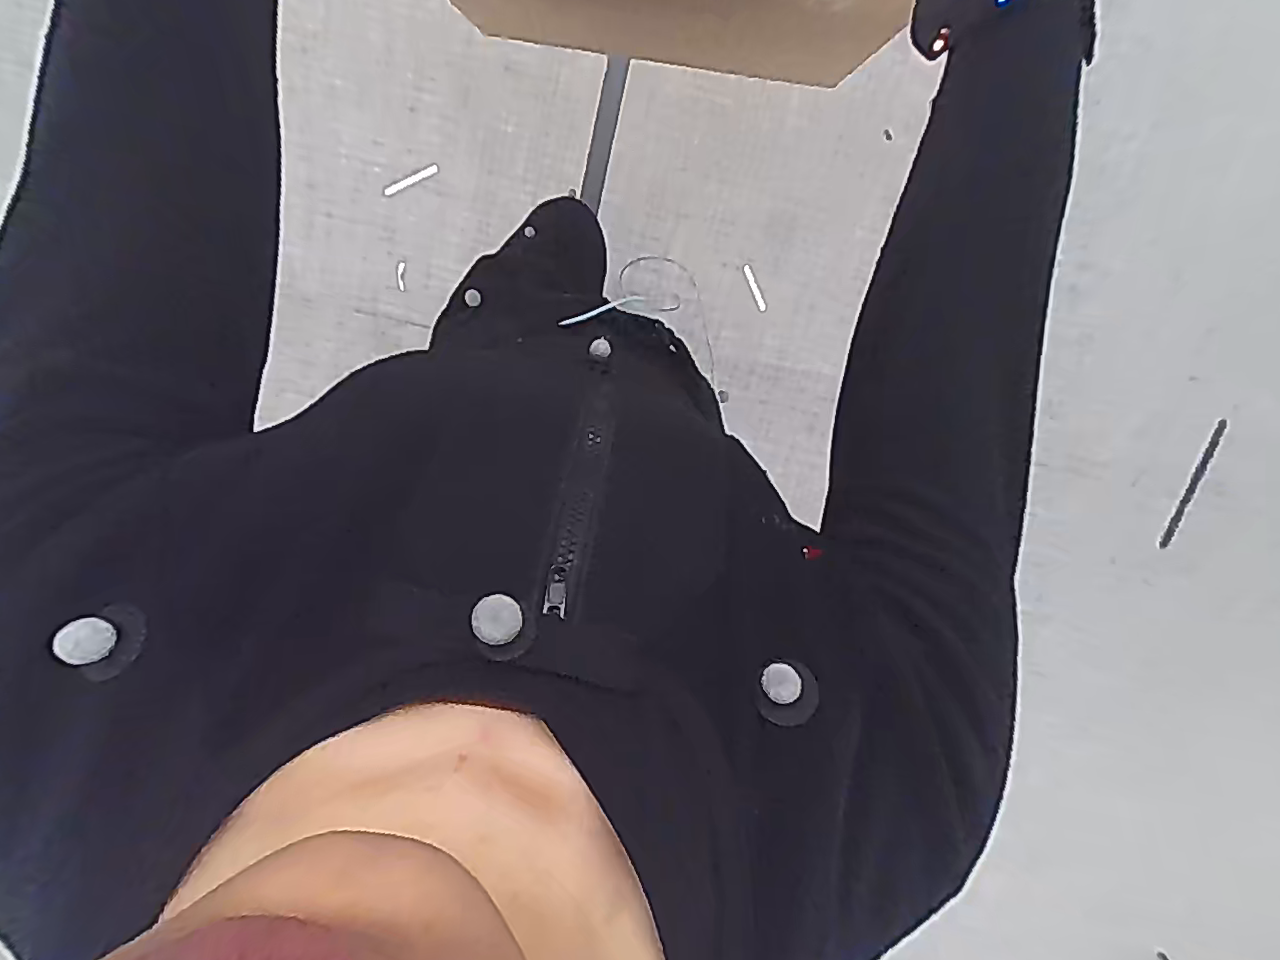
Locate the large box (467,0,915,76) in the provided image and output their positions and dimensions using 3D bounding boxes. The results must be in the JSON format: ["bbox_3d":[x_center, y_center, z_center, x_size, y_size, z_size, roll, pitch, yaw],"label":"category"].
[{"bbox_3d":[0.037,-0.553,0.411,0.408,0.320,0.320,8,116,-1],"label":"large box"}]
